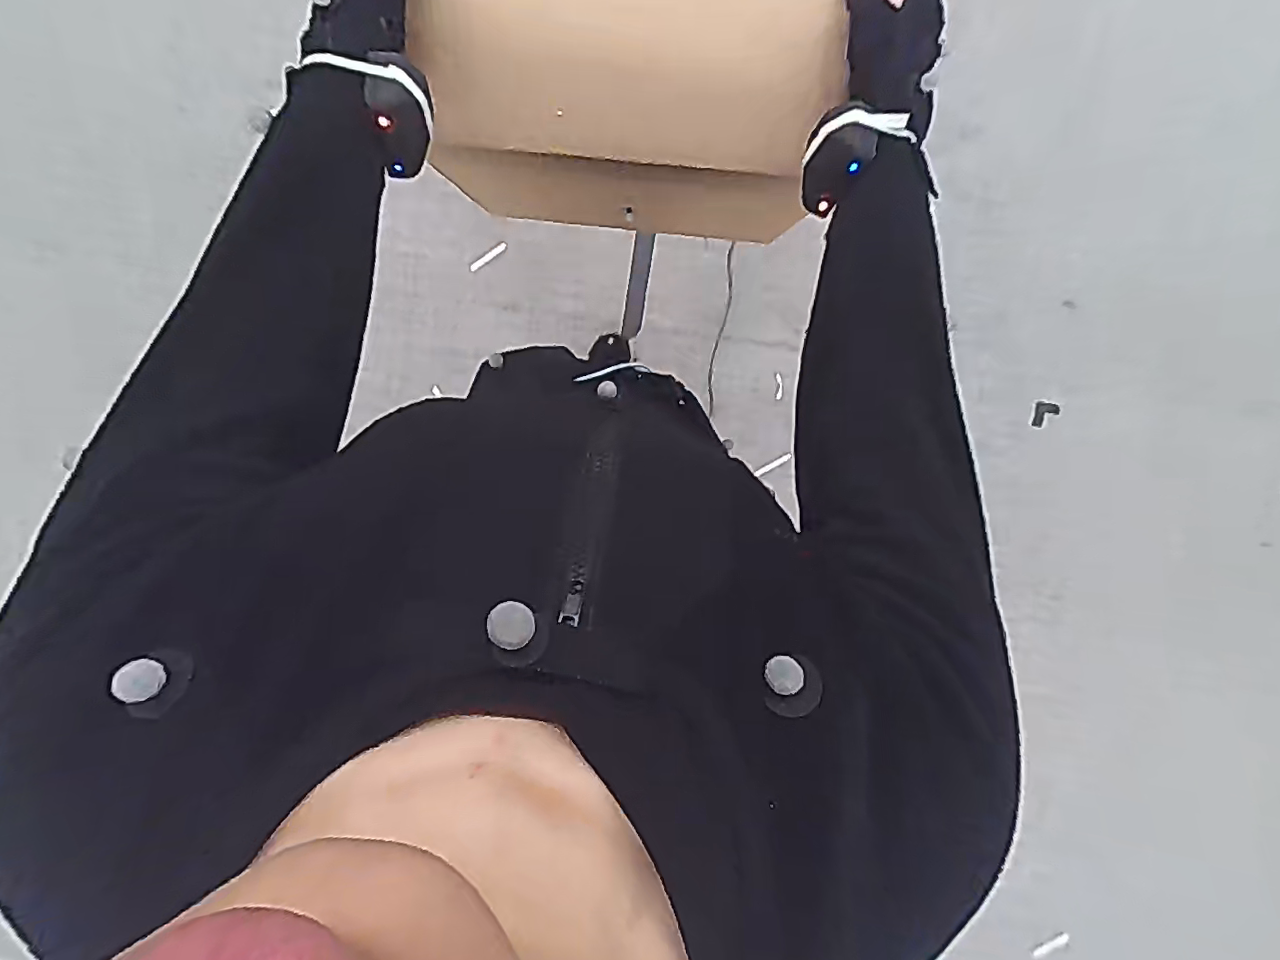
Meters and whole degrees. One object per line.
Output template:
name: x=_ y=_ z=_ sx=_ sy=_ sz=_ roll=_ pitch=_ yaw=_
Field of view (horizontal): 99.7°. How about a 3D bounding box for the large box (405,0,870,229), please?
large box: x=0.004 y=-0.482 z=0.596 sx=0.408 sy=0.320 sz=0.320 roll=5 pitch=104 yaw=-1
